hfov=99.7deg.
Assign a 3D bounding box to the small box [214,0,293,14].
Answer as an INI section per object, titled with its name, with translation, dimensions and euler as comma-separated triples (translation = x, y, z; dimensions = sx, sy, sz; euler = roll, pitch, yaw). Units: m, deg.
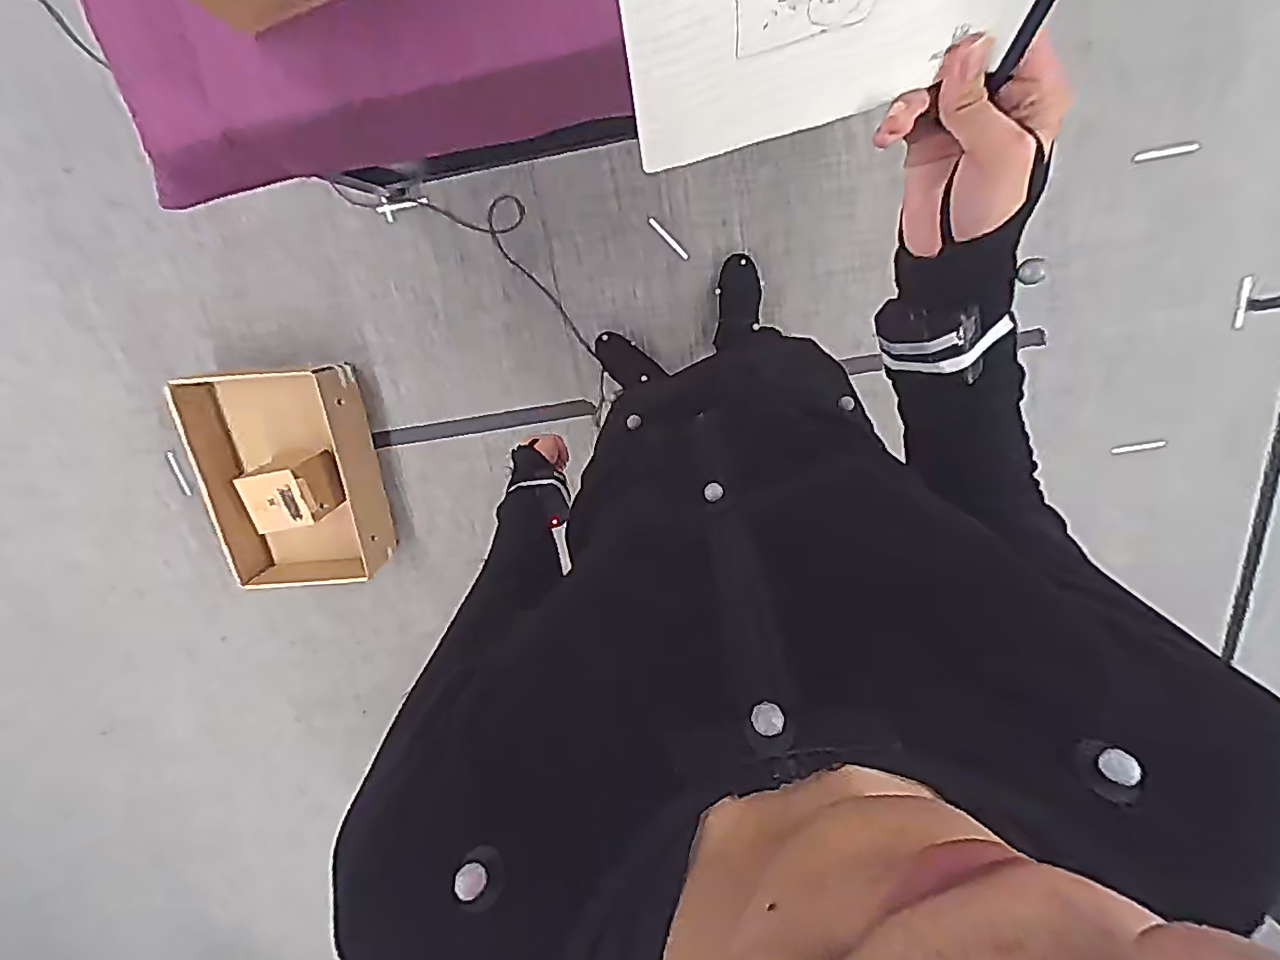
[small box]
translation = -0.441, -0.637, 0.566
dimensions = 0.168, 0.176, 0.179
euler = -17, 109, 5
